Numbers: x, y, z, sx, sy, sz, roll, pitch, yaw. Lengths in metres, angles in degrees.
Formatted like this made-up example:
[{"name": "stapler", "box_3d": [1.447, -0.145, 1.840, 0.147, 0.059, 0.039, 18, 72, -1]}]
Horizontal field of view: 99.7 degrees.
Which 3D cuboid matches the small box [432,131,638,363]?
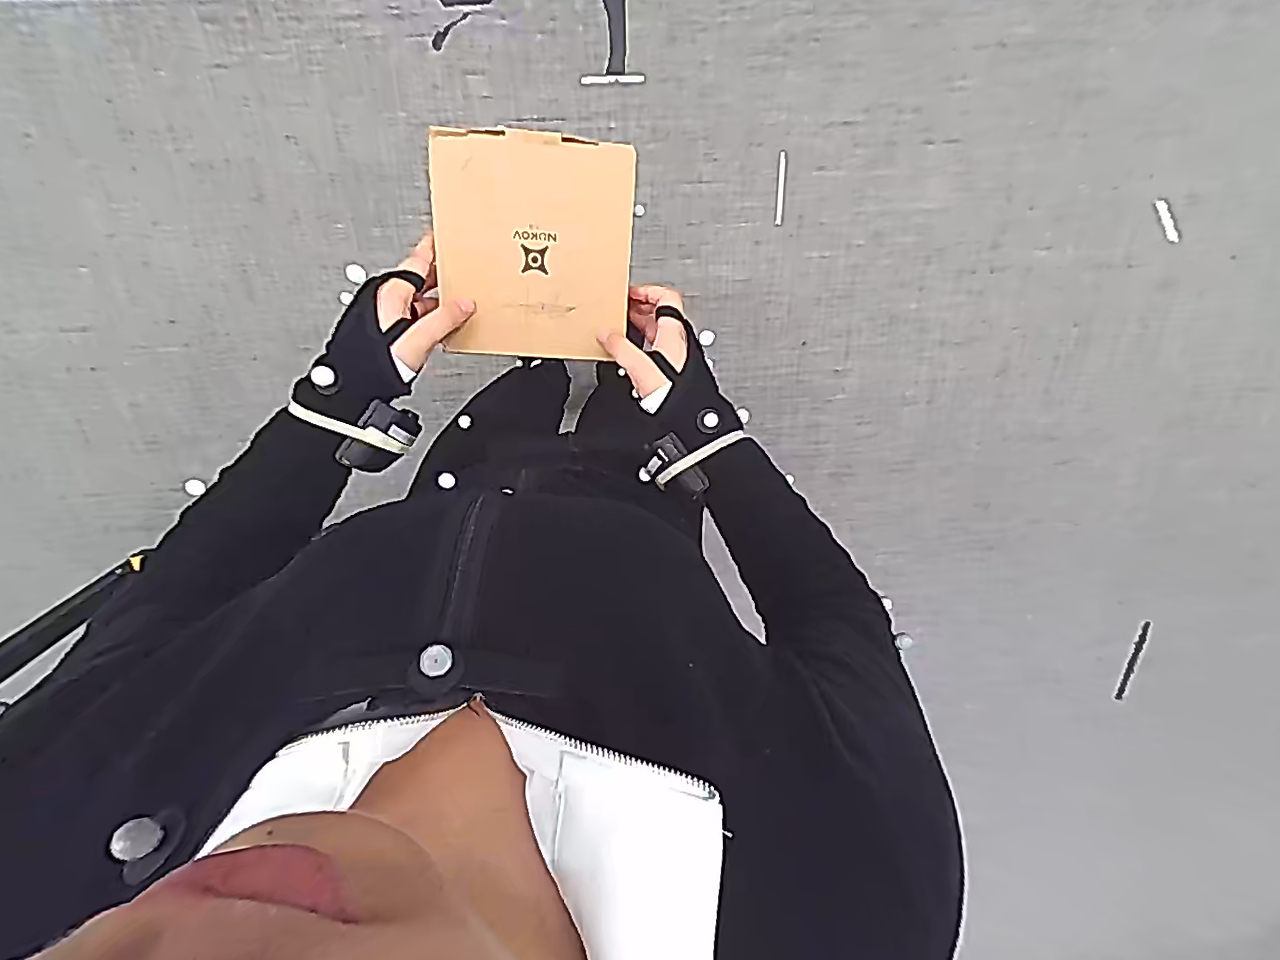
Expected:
[{"name": "small box", "box_3d": [-0.094, -0.222, 0.534, 0.168, 0.176, 0.179, 1, 114, -5]}]
